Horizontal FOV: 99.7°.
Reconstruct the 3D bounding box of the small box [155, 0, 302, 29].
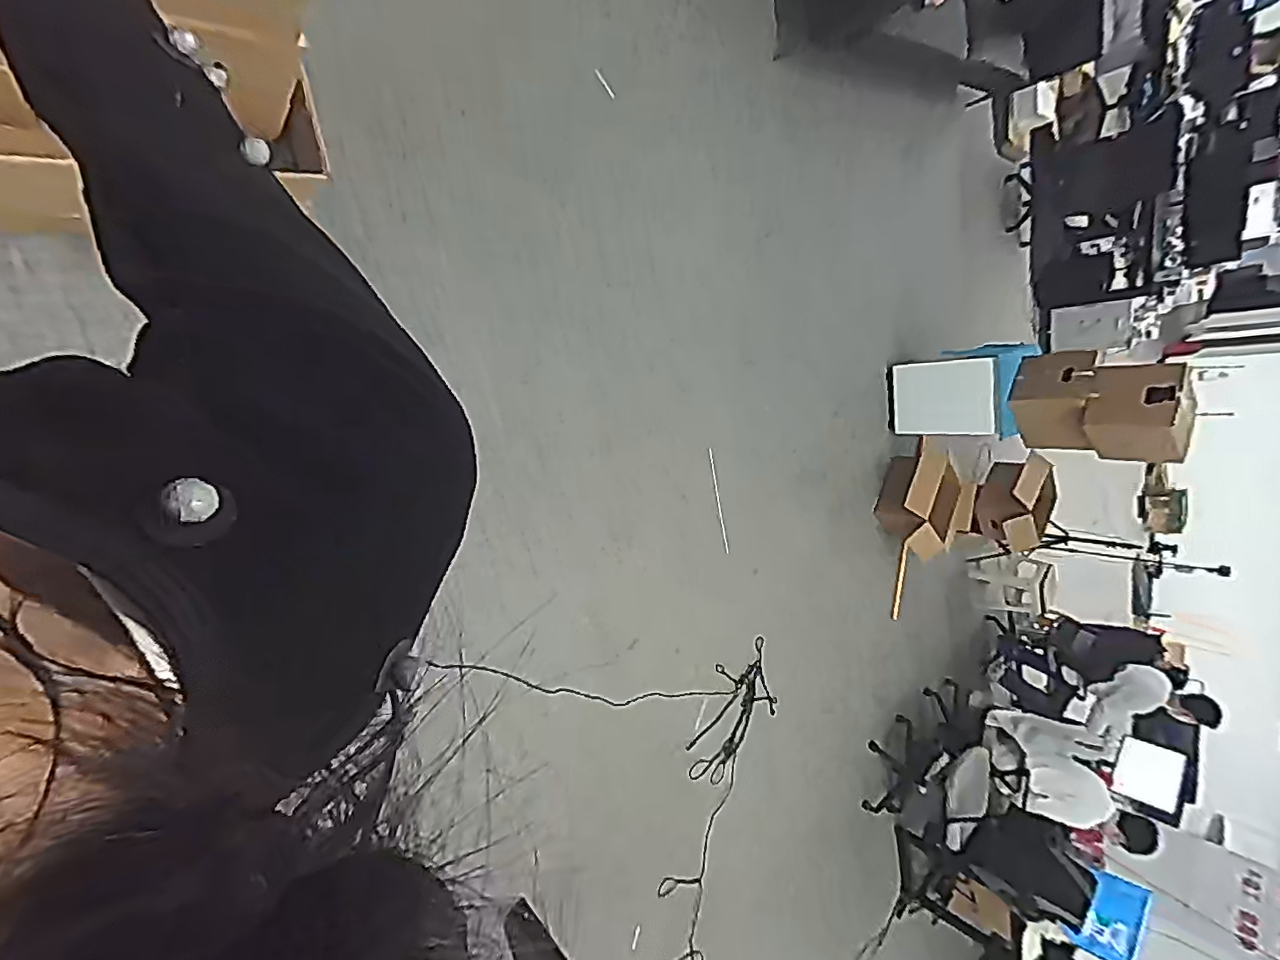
[{"bbox_3d":[-0.430,-0.578,0.513,0.179,0.176,0.168,-15,105,-37],"label":"small box"}]
